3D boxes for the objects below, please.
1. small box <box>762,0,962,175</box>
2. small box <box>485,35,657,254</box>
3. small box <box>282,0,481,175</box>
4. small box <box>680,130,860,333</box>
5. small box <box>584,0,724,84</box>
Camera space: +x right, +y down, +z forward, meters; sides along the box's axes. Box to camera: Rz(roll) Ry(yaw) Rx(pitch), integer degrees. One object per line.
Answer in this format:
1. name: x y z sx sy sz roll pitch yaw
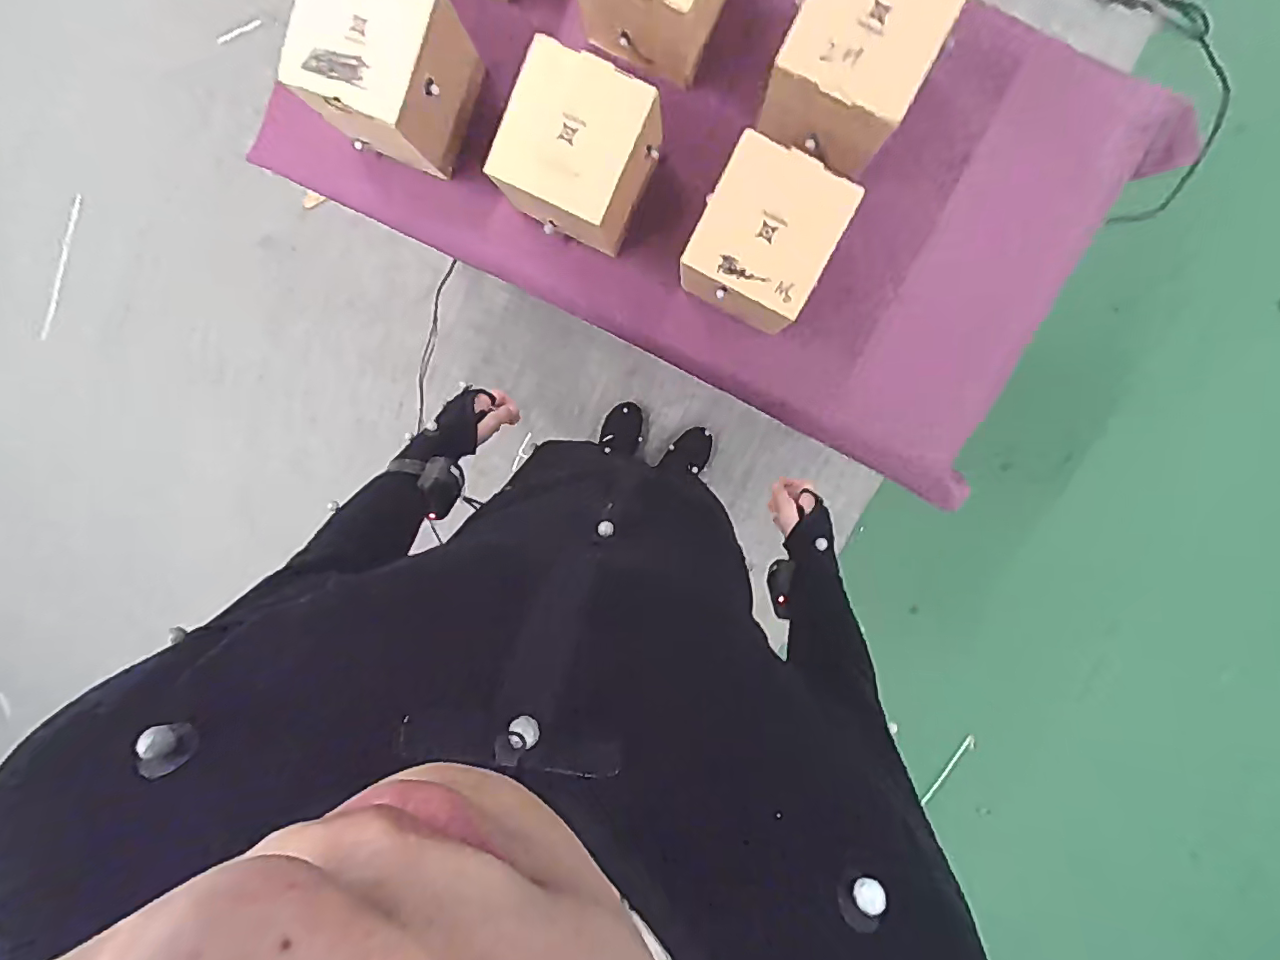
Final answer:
1. small box: 0.274 -0.544 0.704 0.168 0.176 0.179 28 101 1
2. small box: -0.084 -0.447 0.754 0.168 0.176 0.179 27 101 1
3. small box: -0.345 -0.566 0.755 0.168 0.176 0.179 23 98 1
4. small box: 0.165 -0.326 0.750 0.168 0.176 0.179 28 100 1
5. small box: 0.026 -0.679 0.707 0.168 0.176 0.179 26 102 0
